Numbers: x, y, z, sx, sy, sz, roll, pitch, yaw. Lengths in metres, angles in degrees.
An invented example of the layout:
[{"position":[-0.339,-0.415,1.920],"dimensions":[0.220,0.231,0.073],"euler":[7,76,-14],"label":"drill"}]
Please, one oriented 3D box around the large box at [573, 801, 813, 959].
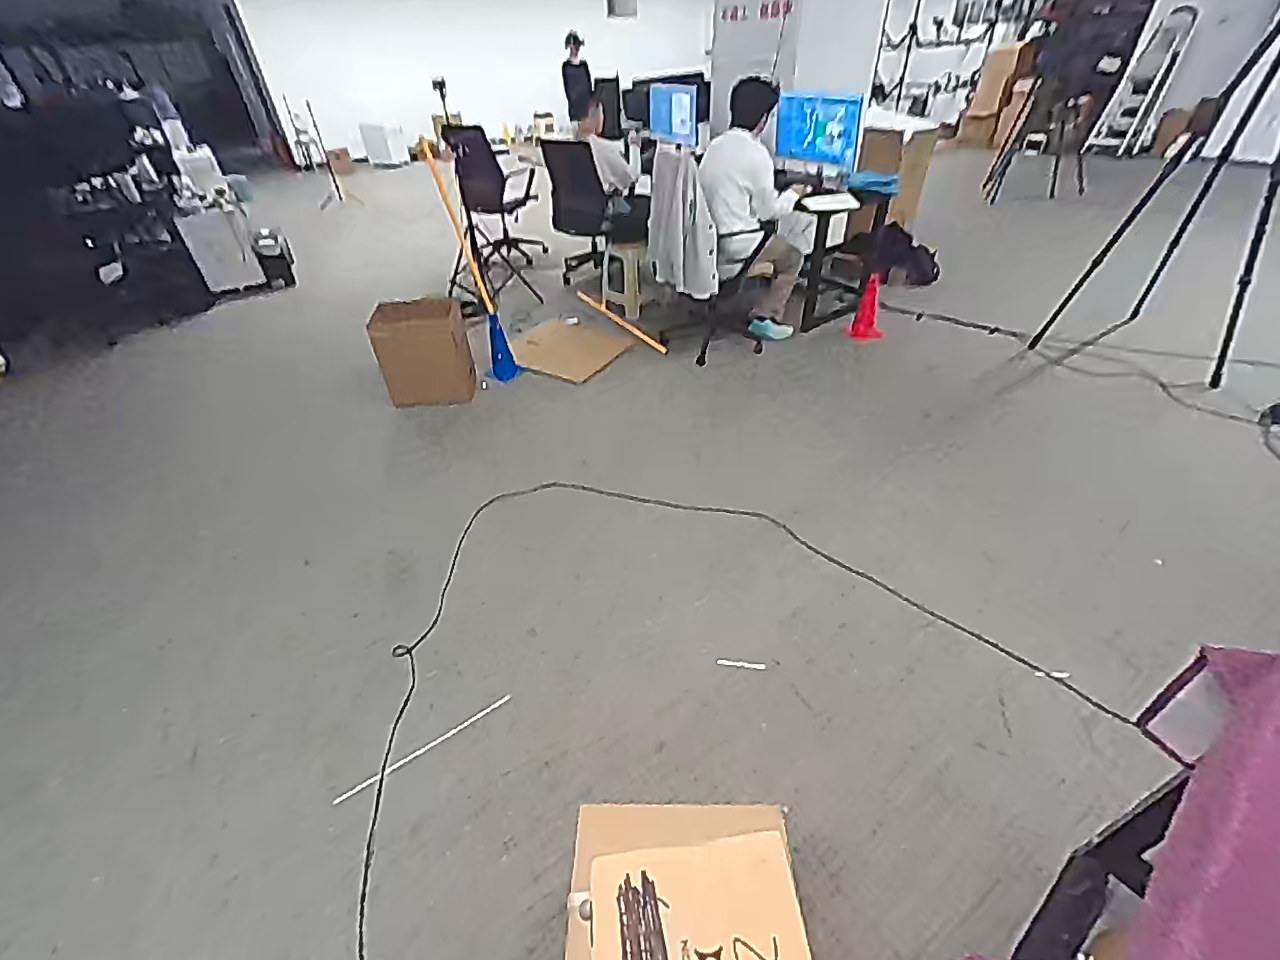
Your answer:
[{"position":[0.090,0.850,1.048],"dimensions":[0.408,0.320,0.320],"euler":[-1,40,2],"label":"large box"}]
